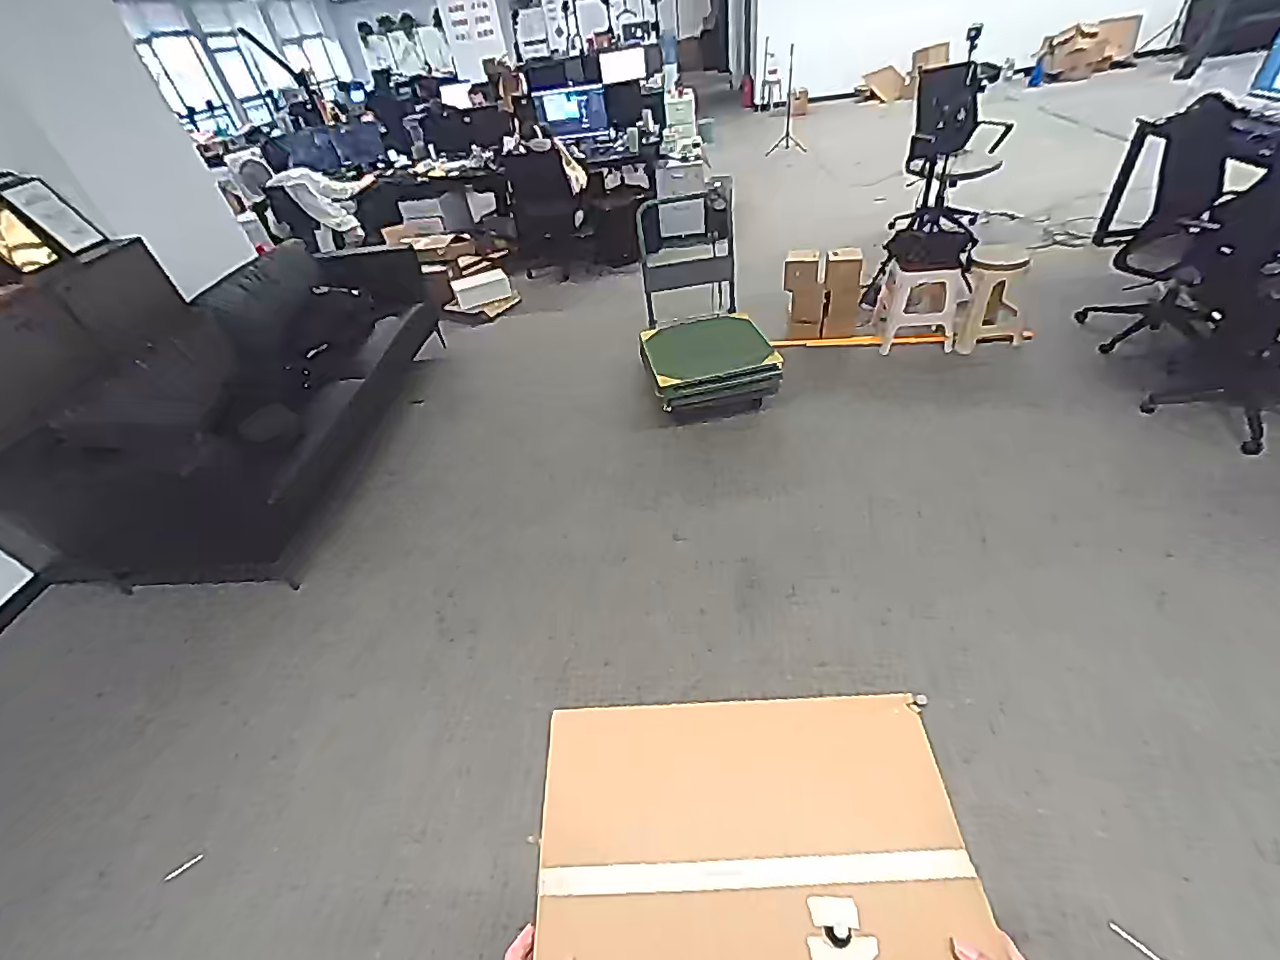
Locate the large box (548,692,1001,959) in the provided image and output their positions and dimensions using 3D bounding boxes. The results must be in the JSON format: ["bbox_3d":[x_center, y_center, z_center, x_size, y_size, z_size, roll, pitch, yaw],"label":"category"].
[{"bbox_3d":[0.118,0.468,0.630,0.408,0.320,0.320,-4,50,1],"label":"large box"}]
